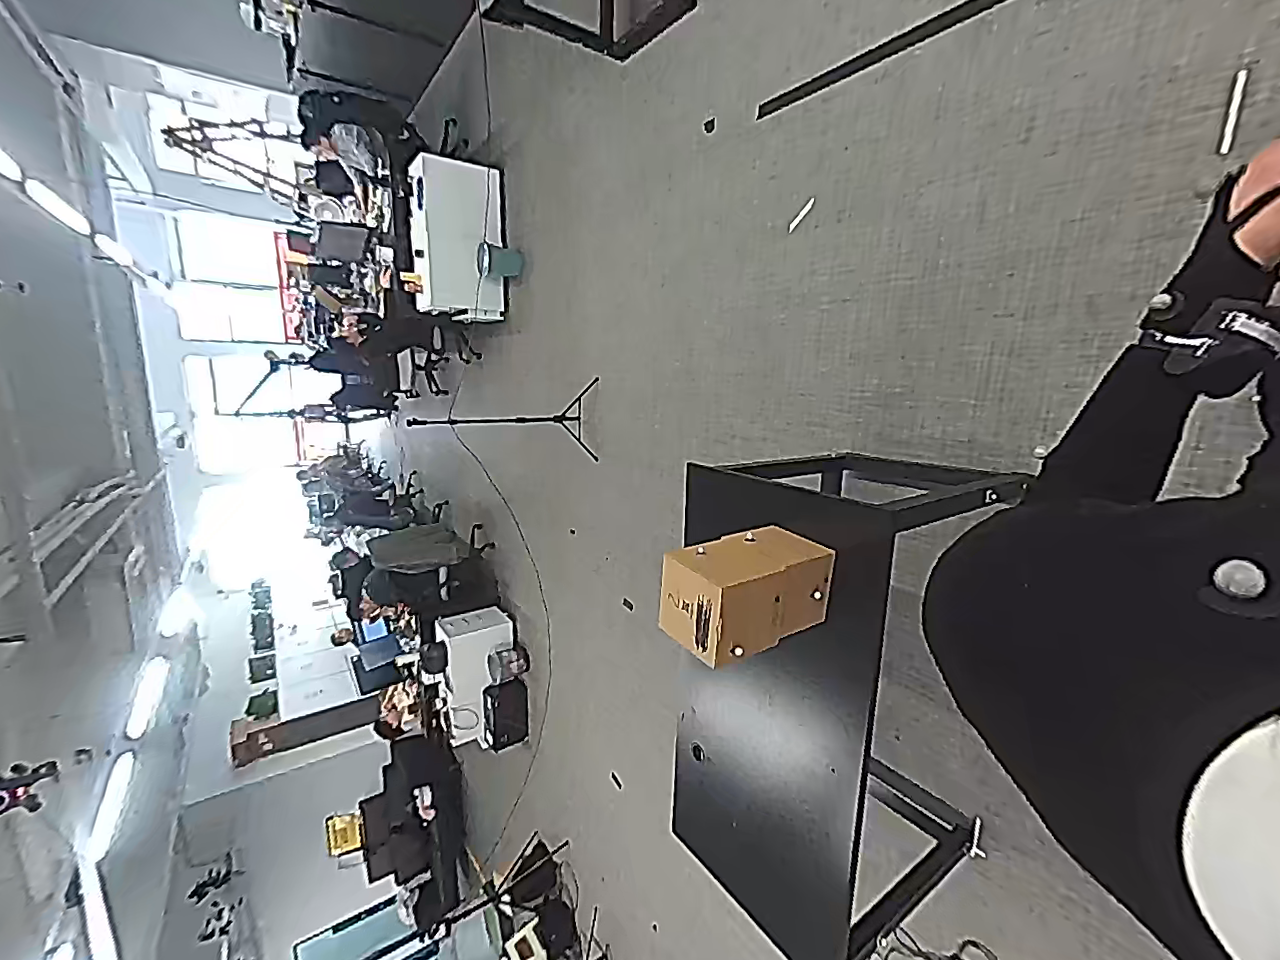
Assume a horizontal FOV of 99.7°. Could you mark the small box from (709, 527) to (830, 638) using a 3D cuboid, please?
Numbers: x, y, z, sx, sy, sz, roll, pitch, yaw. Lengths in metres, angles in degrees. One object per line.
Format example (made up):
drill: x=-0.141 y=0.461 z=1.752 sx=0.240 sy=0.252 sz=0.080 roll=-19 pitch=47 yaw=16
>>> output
small box: x=0.275 y=0.209 z=1.164 sx=0.179 sy=0.176 sz=0.168 roll=25 pitch=117 yaw=51
